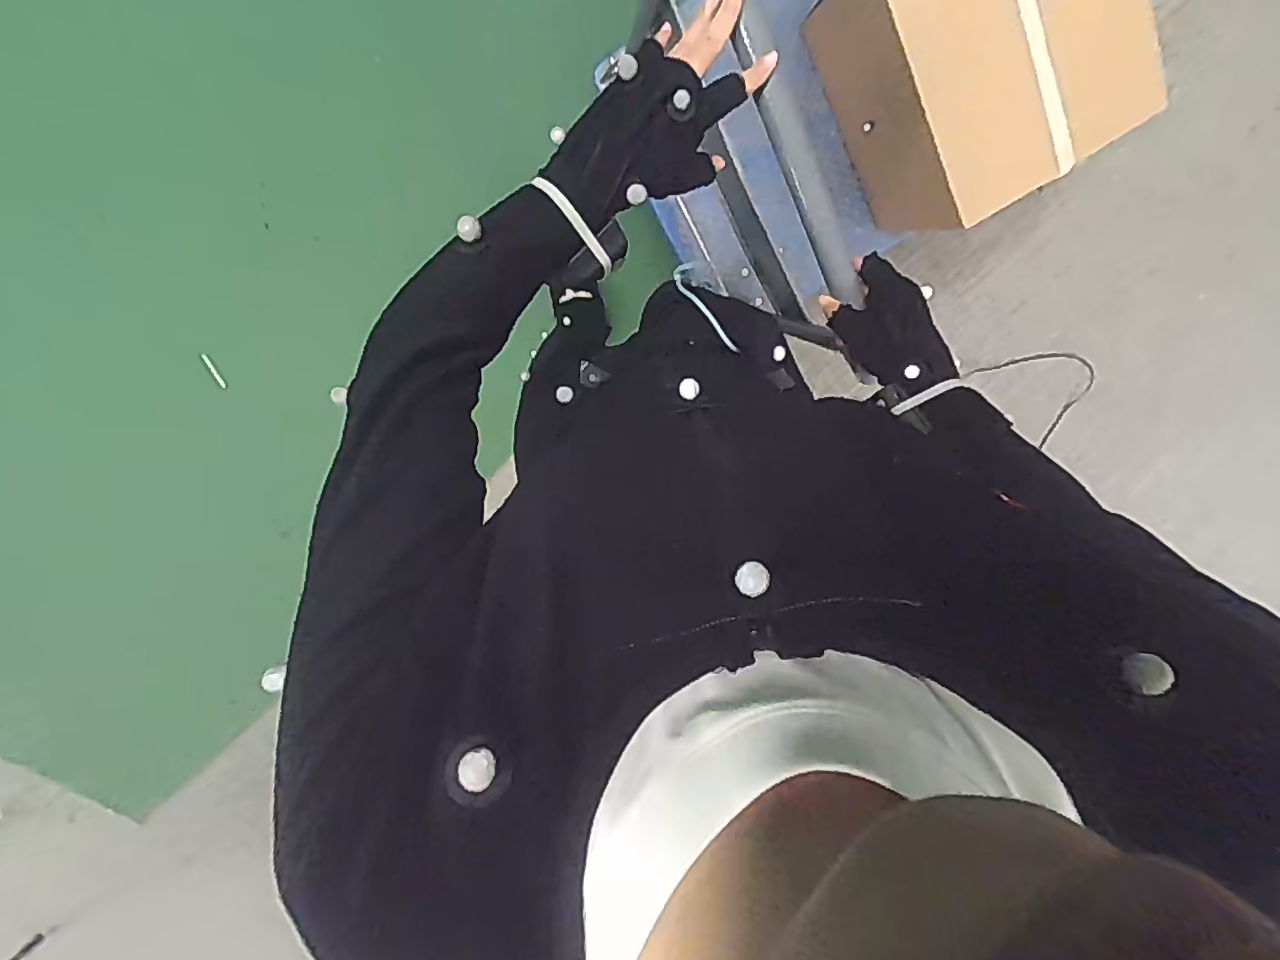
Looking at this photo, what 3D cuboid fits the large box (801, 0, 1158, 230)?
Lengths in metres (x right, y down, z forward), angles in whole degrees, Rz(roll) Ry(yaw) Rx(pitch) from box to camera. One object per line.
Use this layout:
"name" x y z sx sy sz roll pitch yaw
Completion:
"large box" 0.520 -0.681 0.885 0.320 0.320 0.408 -30 111 11
